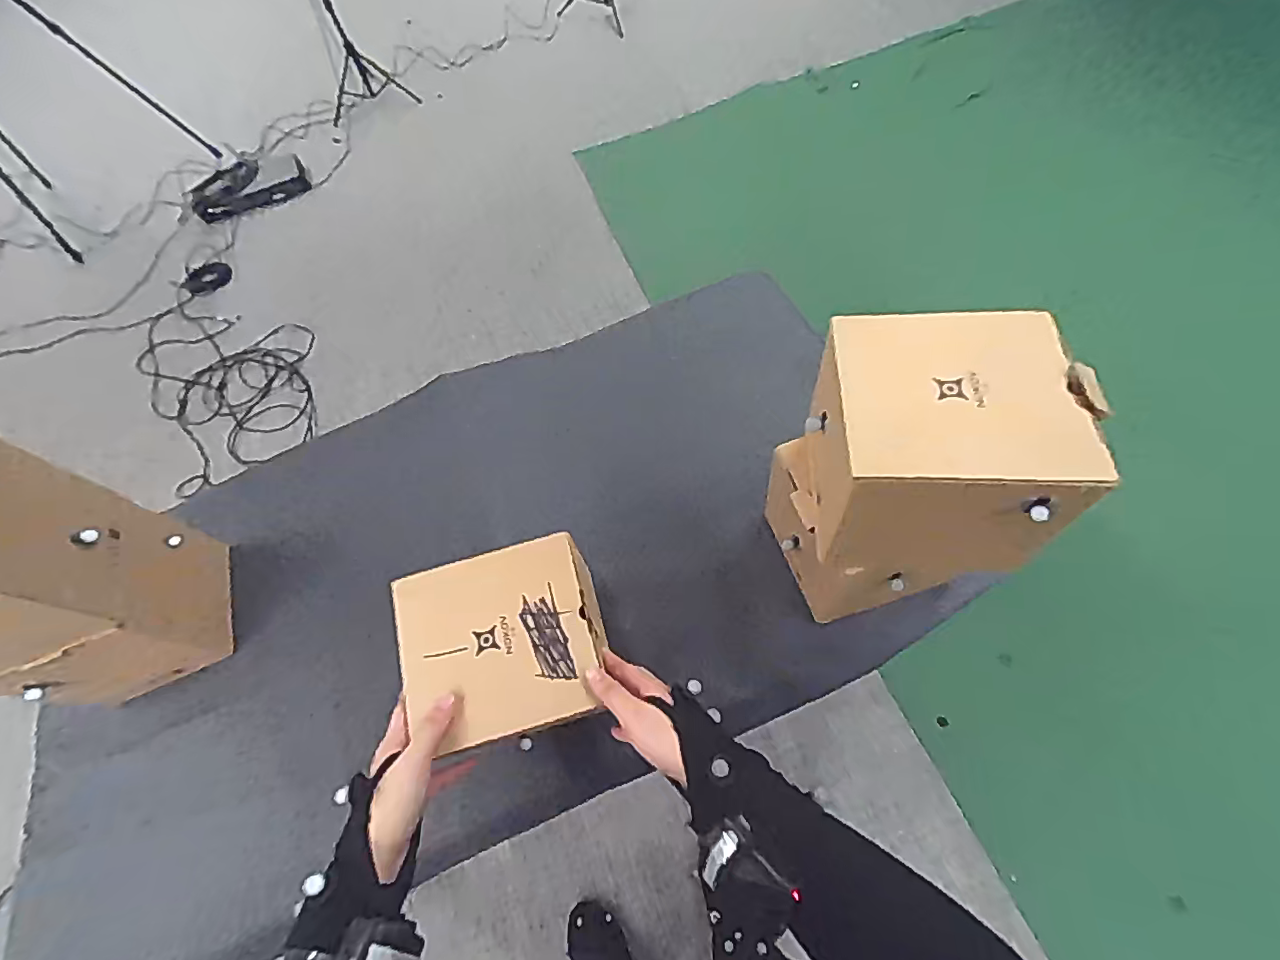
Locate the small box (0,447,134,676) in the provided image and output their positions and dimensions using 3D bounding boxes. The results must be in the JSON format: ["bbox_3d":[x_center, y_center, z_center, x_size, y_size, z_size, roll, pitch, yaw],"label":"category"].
[{"bbox_3d":[-0.673,0.091,0.540,0.179,0.176,0.168,-22,63,-5],"label":"small box"}]

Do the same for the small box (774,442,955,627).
[{"bbox_3d":[0.266,0.052,0.626,0.179,0.176,0.168,-18,58,-1],"label":"small box"}]

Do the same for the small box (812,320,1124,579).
[{"bbox_3d":[0.254,-0.019,0.478,0.179,0.176,0.168,1,59,8],"label":"small box"}]

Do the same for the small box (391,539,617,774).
[{"bbox_3d":[-0.125,0.177,0.553,0.179,0.176,0.168,-15,69,-3],"label":"small box"}]
